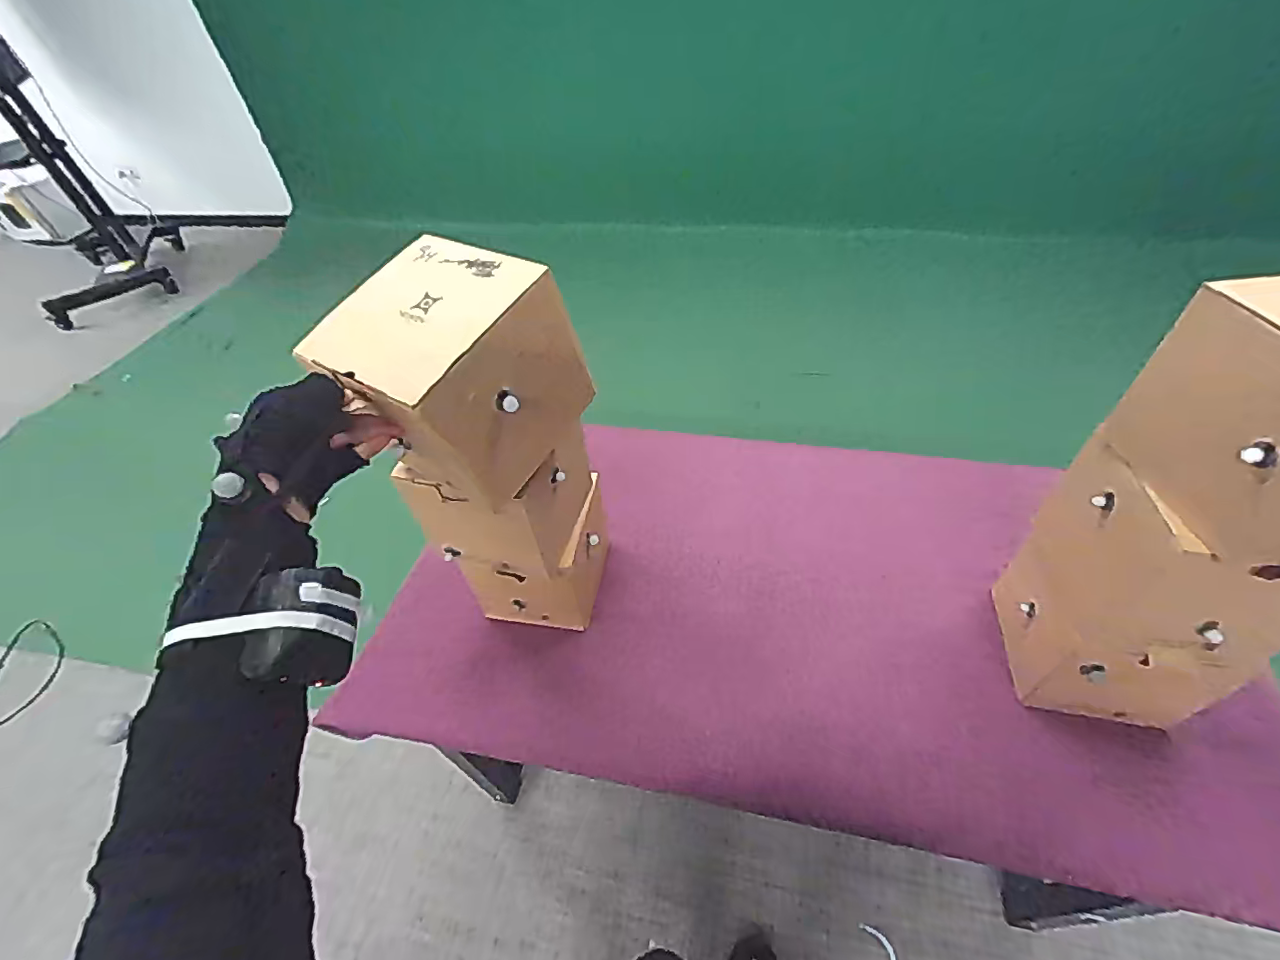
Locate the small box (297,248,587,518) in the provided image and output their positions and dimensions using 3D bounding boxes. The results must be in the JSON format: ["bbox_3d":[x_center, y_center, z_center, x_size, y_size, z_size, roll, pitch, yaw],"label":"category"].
[{"bbox_3d":[-0.175,-0.090,0.535,0.168,0.176,0.179,25,67,25],"label":"small box"}]

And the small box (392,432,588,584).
[{"bbox_3d":[-0.174,0.012,0.699,0.168,0.176,0.179,9,49,12],"label":"small box"}]

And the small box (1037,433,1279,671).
[{"bbox_3d":[0.561,0.073,0.566,0.168,0.176,0.179,3,47,10],"label":"small box"}]

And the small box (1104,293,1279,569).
[{"bbox_3d":[0.556,-0.038,0.447,0.168,0.176,0.179,-4,46,1],"label":"small box"}]

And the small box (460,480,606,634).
[{"bbox_3d":[-0.151,0.111,0.829,0.168,0.176,0.179,5,49,9],"label":"small box"}]
